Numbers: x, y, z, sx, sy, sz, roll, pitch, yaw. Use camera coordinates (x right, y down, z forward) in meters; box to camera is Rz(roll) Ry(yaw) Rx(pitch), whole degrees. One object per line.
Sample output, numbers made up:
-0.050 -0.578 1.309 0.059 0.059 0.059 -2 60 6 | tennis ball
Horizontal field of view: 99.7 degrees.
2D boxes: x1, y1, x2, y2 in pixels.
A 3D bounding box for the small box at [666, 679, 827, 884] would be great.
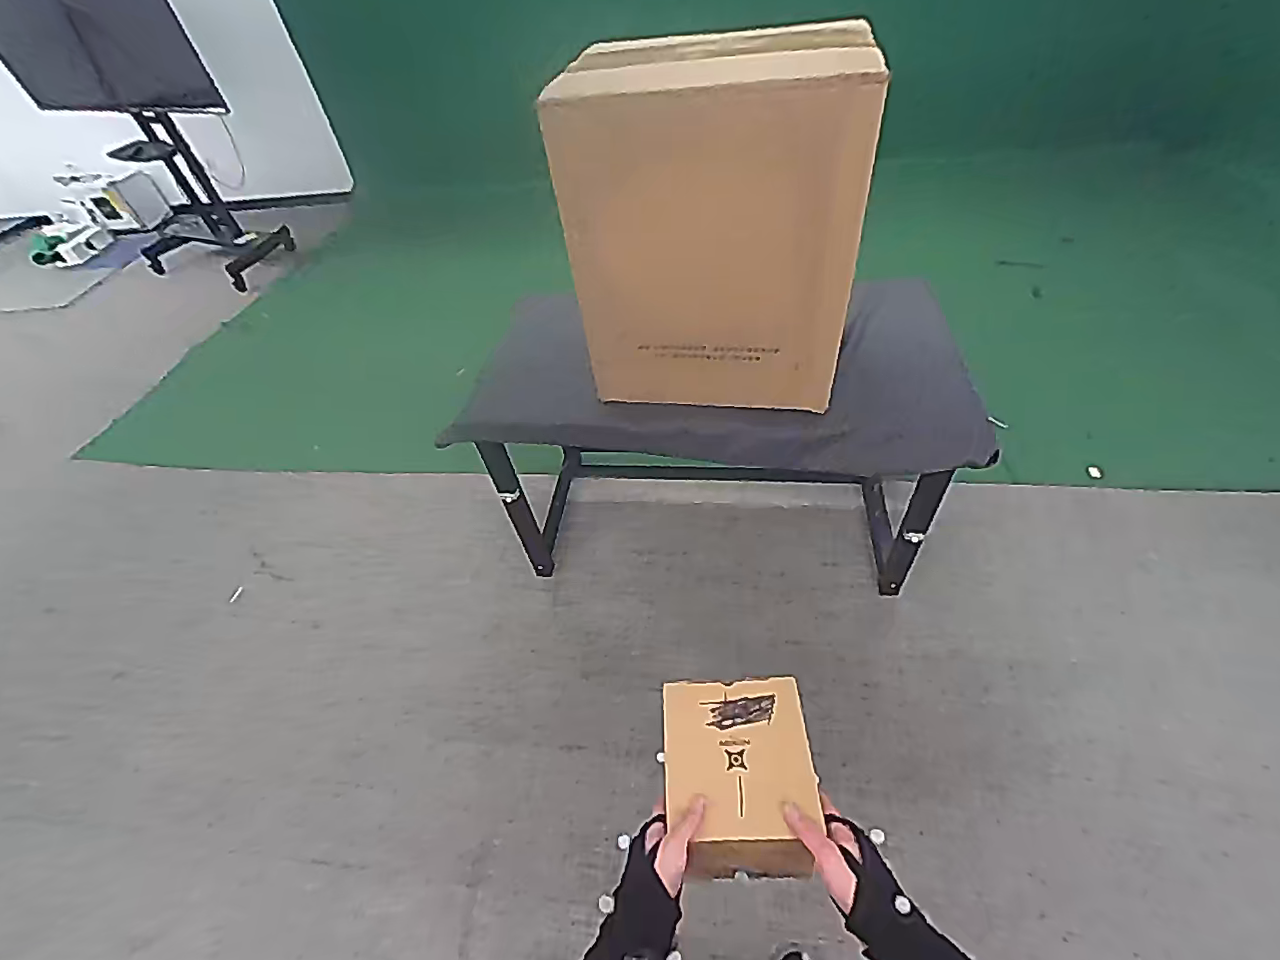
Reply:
0.122 0.367 0.665 0.168 0.176 0.179 -3 42 7 | small box
